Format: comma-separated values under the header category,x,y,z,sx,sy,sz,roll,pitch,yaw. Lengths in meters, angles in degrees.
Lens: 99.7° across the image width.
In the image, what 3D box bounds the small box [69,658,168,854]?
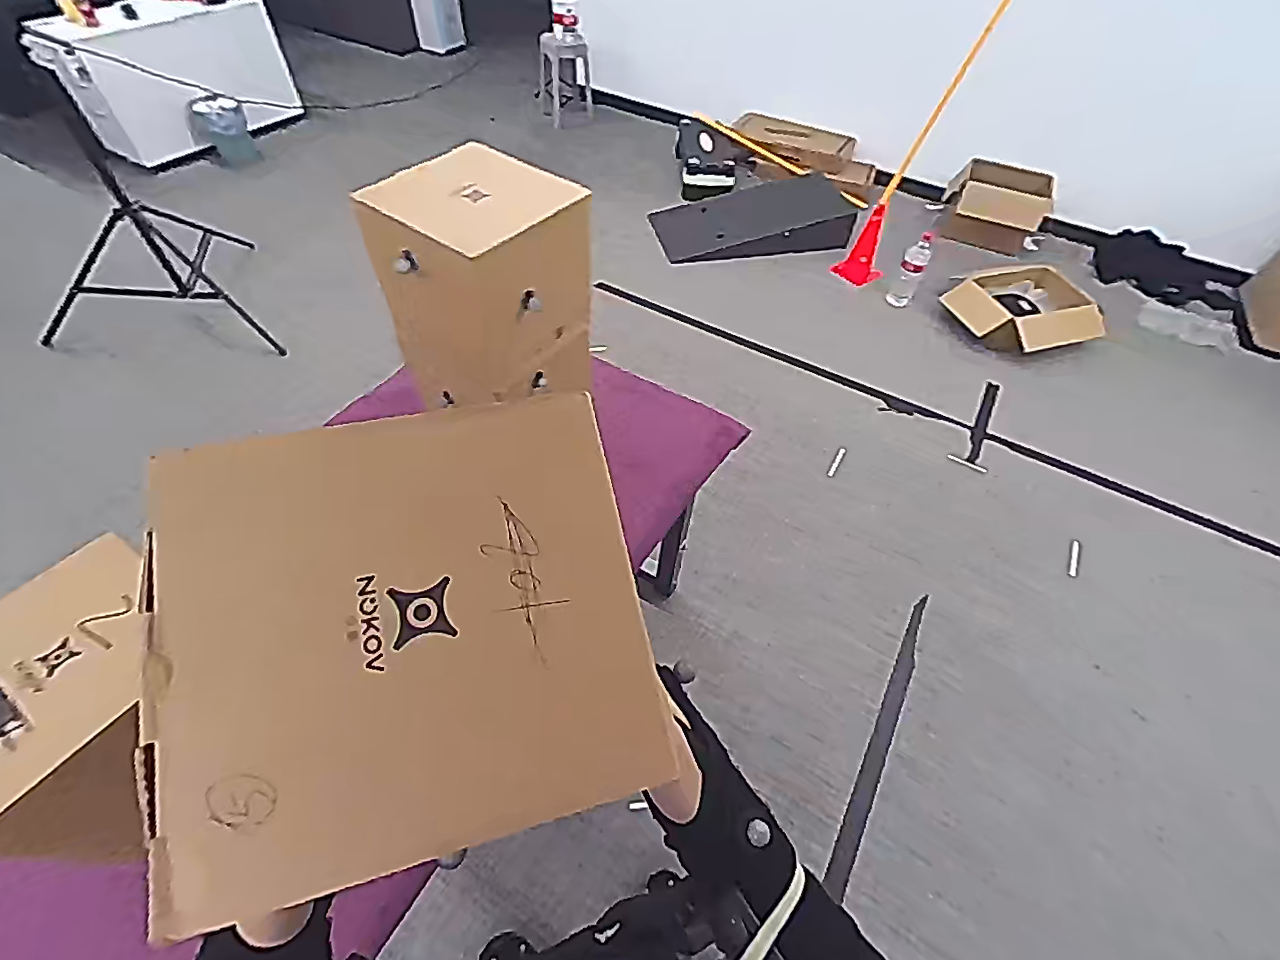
category,x,y,z,sx,sy,sz,roll,pitch,yaw
small box,-0.441,0.283,0.603,0.168,0.176,0.179,29,56,19

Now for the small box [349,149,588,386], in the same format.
category,x,y,z,sx,sy,sz,roll,pitch,yaw
small box,-0.171,-0.229,0.602,0.179,0.176,0.168,31,57,19

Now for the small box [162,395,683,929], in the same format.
category,x,y,z,sx,sy,sz,roll,pitch,yaw
small box,-0.095,0.075,0.282,0.179,0.176,0.168,-10,75,-13

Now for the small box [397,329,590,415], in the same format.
category,x,y,z,sx,sy,sz,roll,pitch,yaw
small box,-0.185,-0.132,0.732,0.179,0.176,0.168,31,57,20
